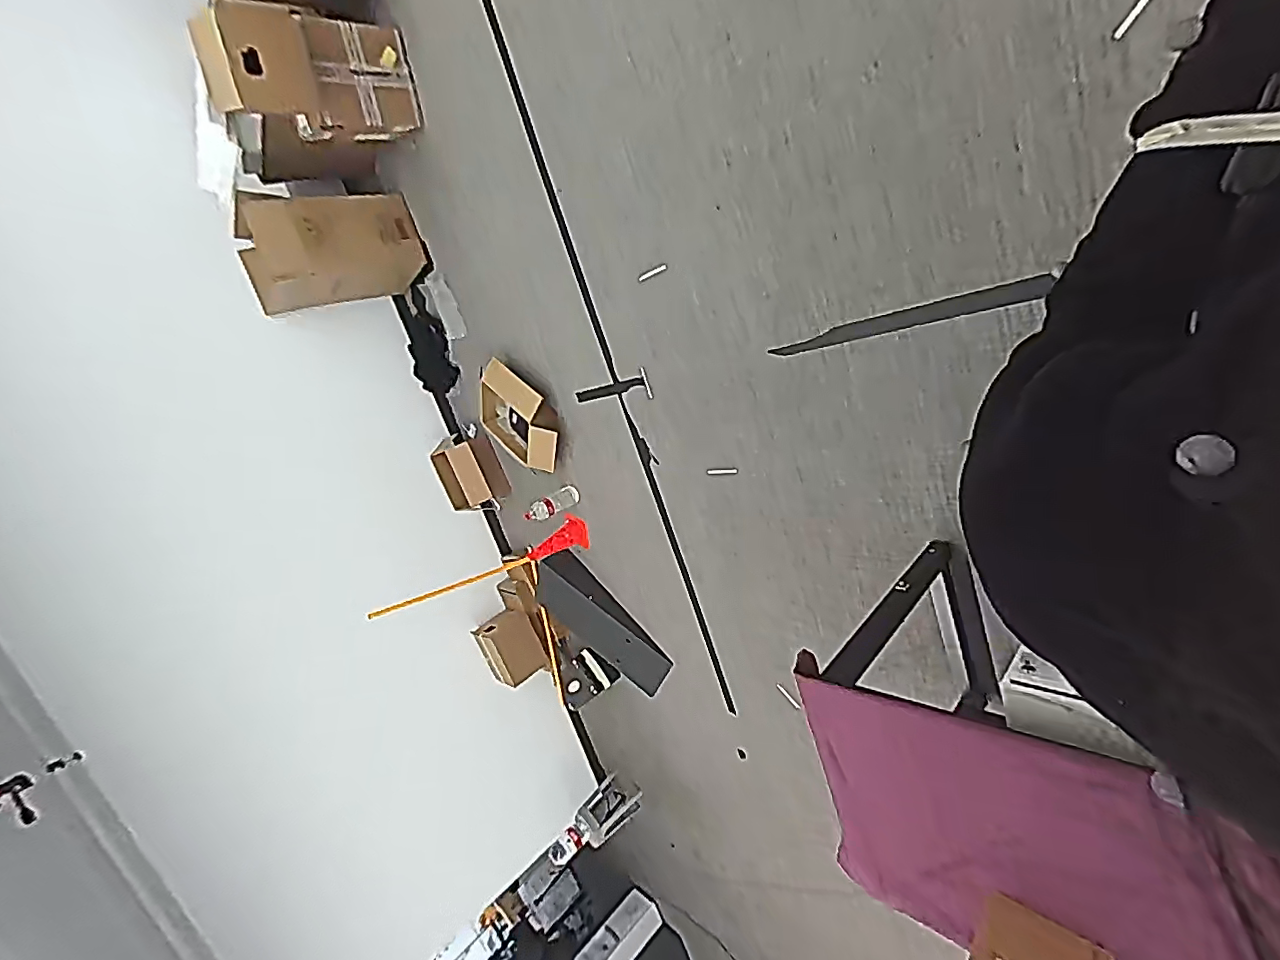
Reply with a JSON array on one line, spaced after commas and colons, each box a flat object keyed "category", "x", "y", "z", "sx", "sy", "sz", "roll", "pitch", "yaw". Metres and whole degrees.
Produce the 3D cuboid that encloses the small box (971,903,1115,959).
[{"category": "small box", "x": 0.695, "y": 0.886, "z": 0.930, "sx": 0.179, "sy": 0.176, "sz": 0.168, "roll": 3, "pitch": 114, "yaw": 49}]
